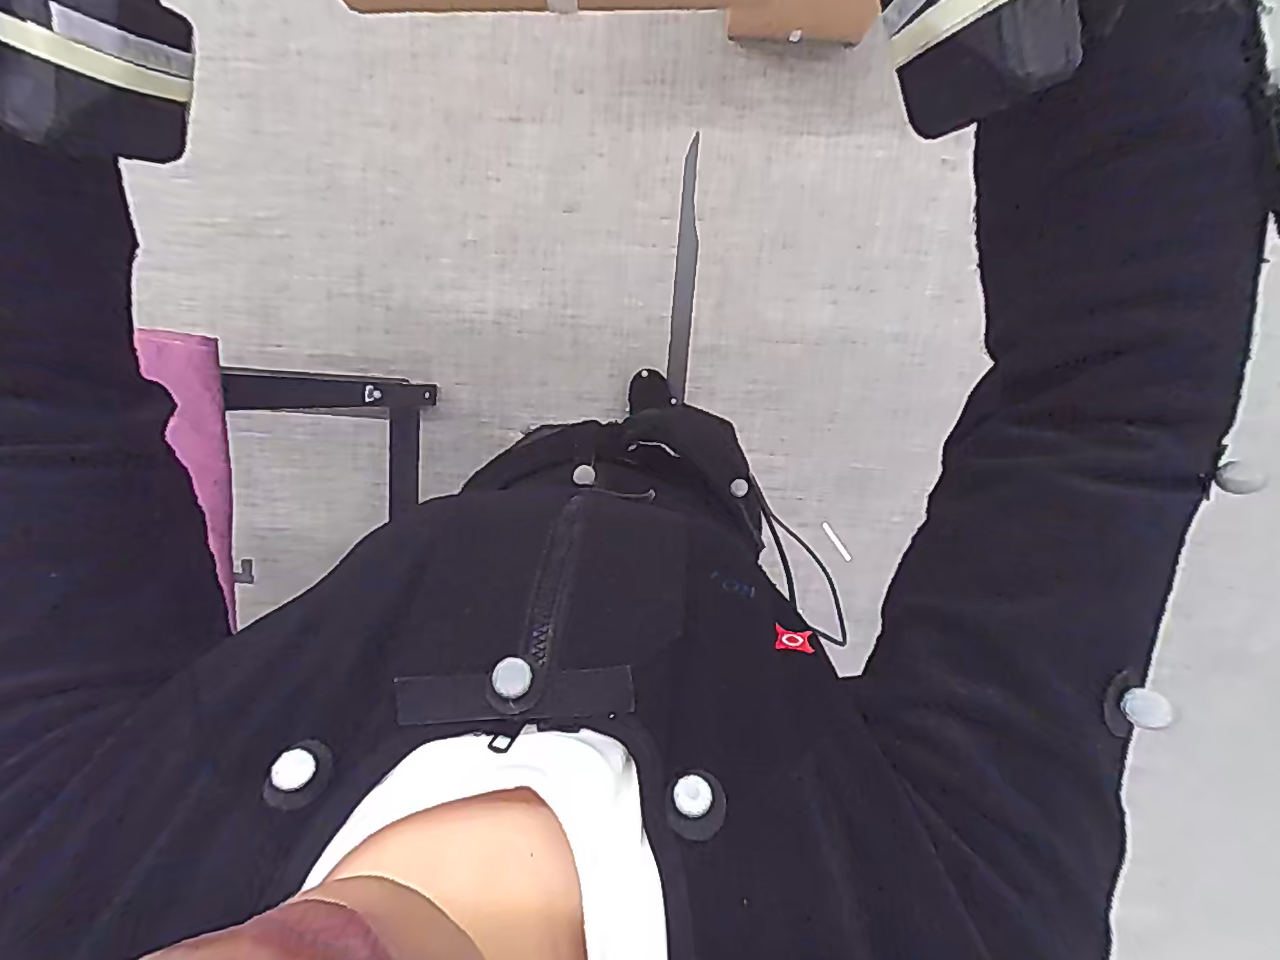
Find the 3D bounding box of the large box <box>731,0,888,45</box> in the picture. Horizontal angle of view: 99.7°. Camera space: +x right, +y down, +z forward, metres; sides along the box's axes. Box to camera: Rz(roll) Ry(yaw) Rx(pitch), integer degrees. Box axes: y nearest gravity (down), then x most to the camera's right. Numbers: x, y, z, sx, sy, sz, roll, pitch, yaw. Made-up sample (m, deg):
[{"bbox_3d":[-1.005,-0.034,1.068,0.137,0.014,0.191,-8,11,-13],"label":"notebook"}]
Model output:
[{"bbox_3d":[0.360,-1.167,1.051,0.320,0.320,0.408,3,99,2],"label":"large box"}]
